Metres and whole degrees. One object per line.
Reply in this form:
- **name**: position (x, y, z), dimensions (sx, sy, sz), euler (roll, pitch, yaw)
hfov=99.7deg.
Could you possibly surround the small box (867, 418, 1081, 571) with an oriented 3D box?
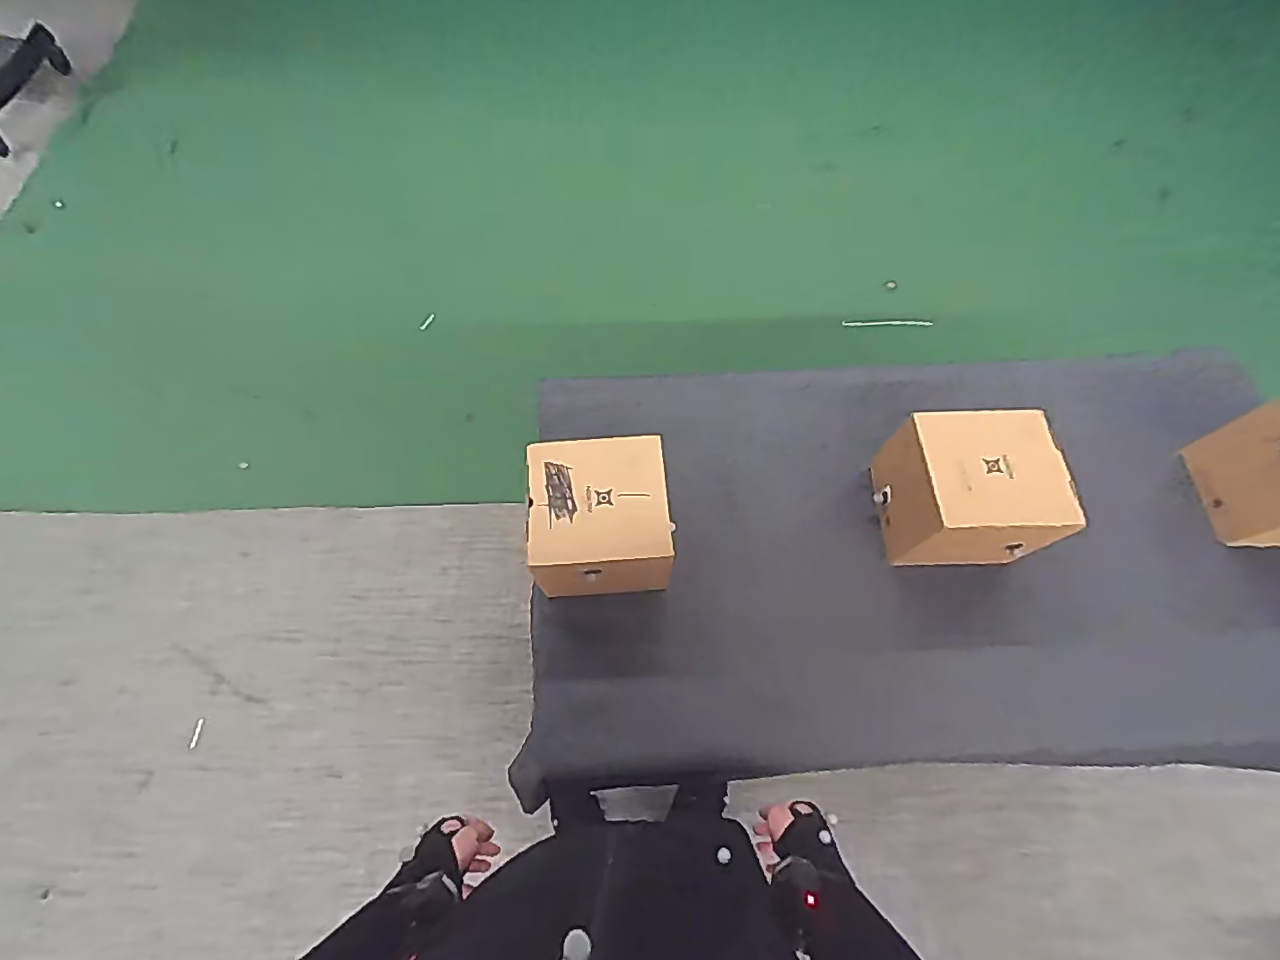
- **small box**: position (0.453, 0.026, 0.767), dimensions (0.179, 0.176, 0.168), euler (-2, 63, -2)

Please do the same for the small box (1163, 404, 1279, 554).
- **small box**: position (0.951, 0.005, 0.796), dimensions (0.179, 0.176, 0.168), euler (1, 65, -2)

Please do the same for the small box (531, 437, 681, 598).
- **small box**: position (-0.048, 0.057, 0.725), dimensions (0.179, 0.176, 0.168), euler (-3, 65, -5)
